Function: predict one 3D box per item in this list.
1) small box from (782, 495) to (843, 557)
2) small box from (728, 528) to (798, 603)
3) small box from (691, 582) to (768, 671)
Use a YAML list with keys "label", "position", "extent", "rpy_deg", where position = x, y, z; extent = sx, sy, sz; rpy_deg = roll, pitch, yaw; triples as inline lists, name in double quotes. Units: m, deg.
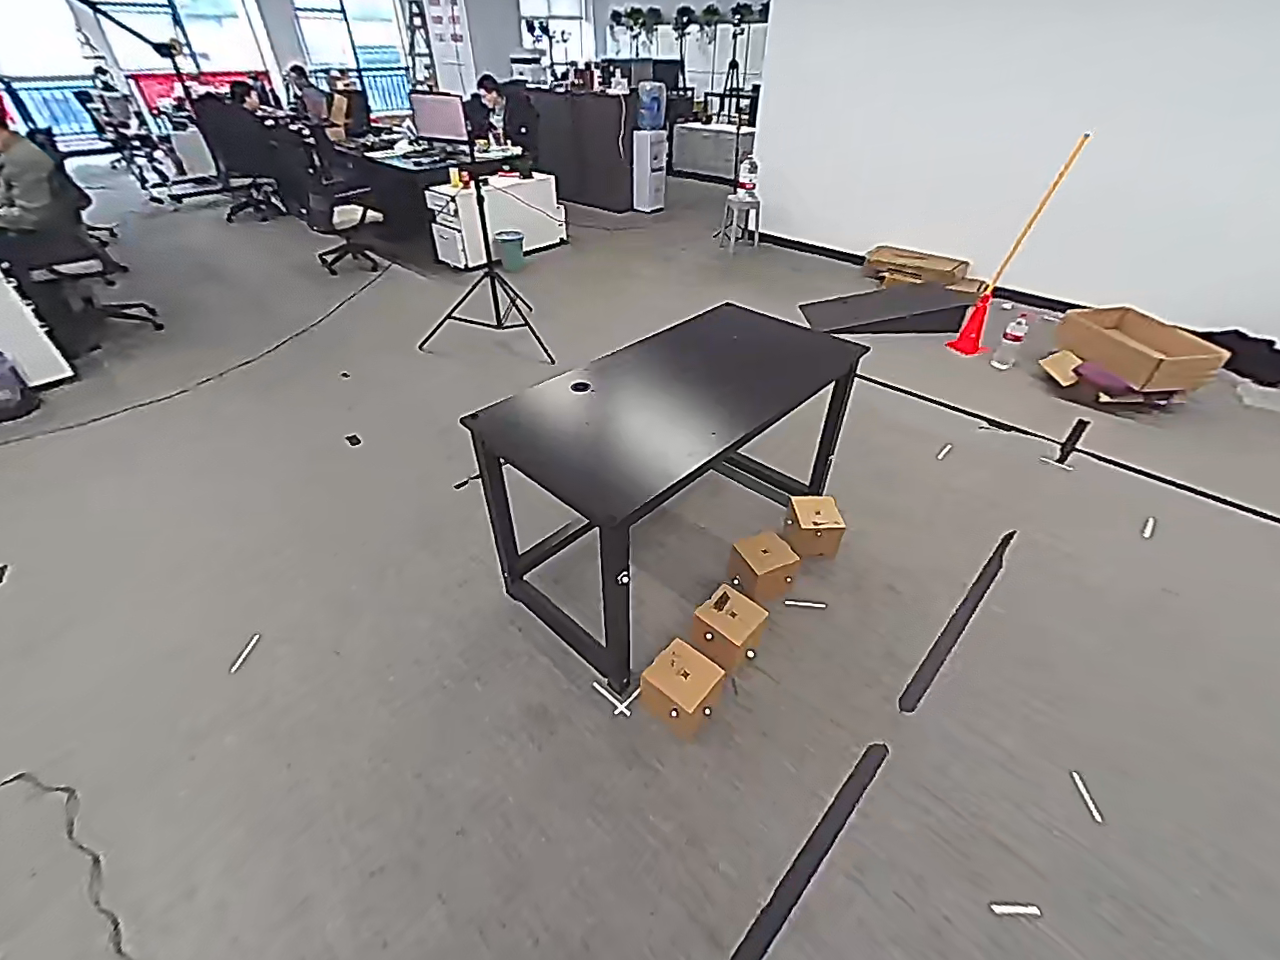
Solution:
- label: "small box"
  position: [0.657, 0.176, 2.083]
  extent: [0.168, 0.176, 0.179]
  rpy_deg: [-2, 39, -2]
- label: "small box"
  position: [0.433, 0.307, 1.928]
  extent: [0.179, 0.176, 0.168]
  rpy_deg: [-18, 42, -19]
- label: "small box"
  position: [0.278, 0.470, 1.726]
  extent: [0.179, 0.176, 0.168]
  rpy_deg: [31, 49, 31]
